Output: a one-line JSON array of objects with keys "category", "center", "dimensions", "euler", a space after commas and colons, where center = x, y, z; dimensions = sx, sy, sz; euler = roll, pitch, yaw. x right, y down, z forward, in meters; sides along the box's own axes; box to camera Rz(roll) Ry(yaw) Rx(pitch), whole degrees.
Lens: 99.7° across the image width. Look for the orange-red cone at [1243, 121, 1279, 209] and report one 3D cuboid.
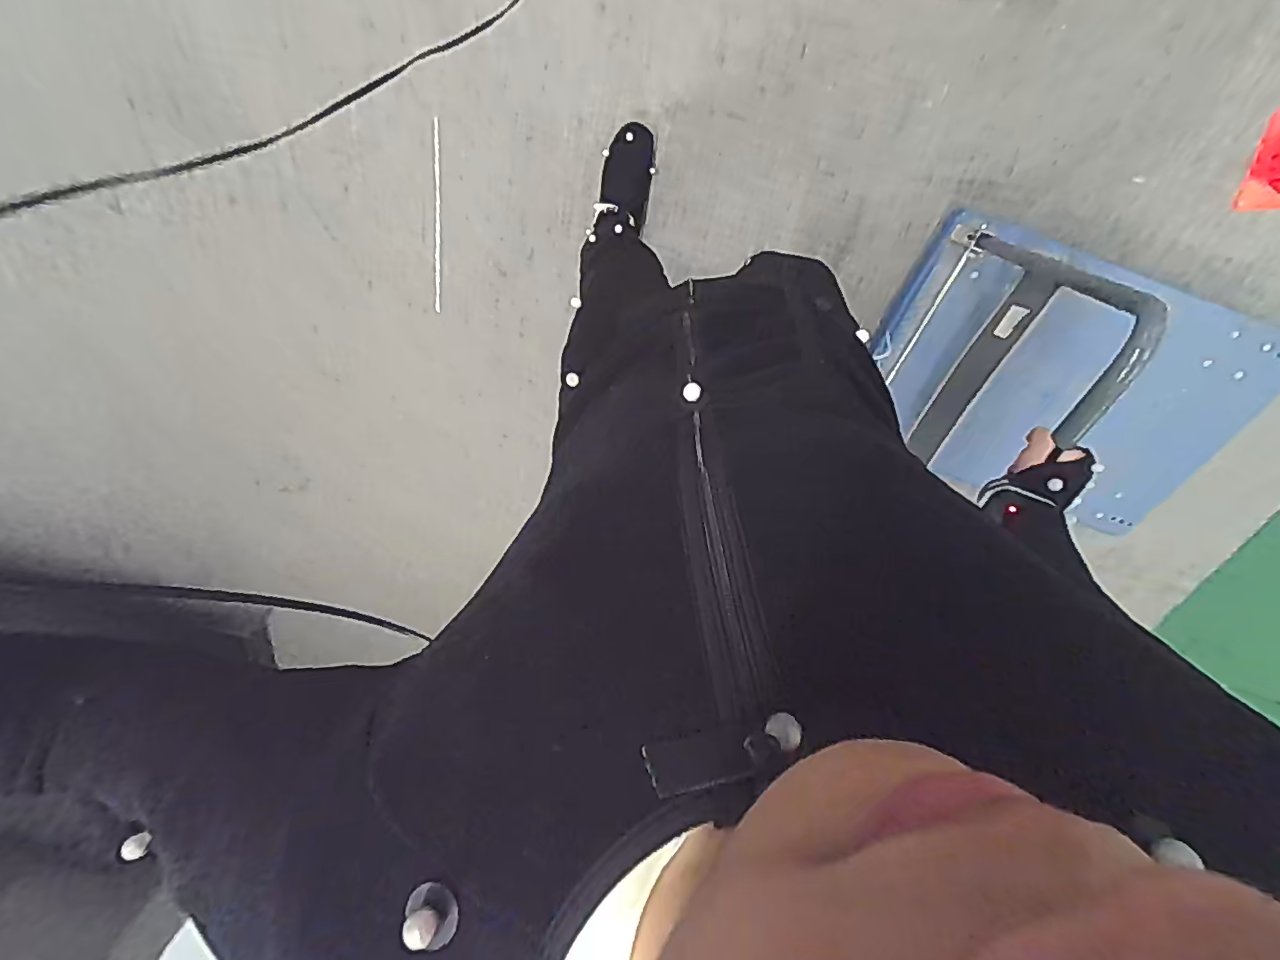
[{"category": "orange-red cone", "center": [1.397, -0.595, 0.991], "dimensions": [0.198, 0.360, 0.199], "euler": [2, 120, 7]}]
